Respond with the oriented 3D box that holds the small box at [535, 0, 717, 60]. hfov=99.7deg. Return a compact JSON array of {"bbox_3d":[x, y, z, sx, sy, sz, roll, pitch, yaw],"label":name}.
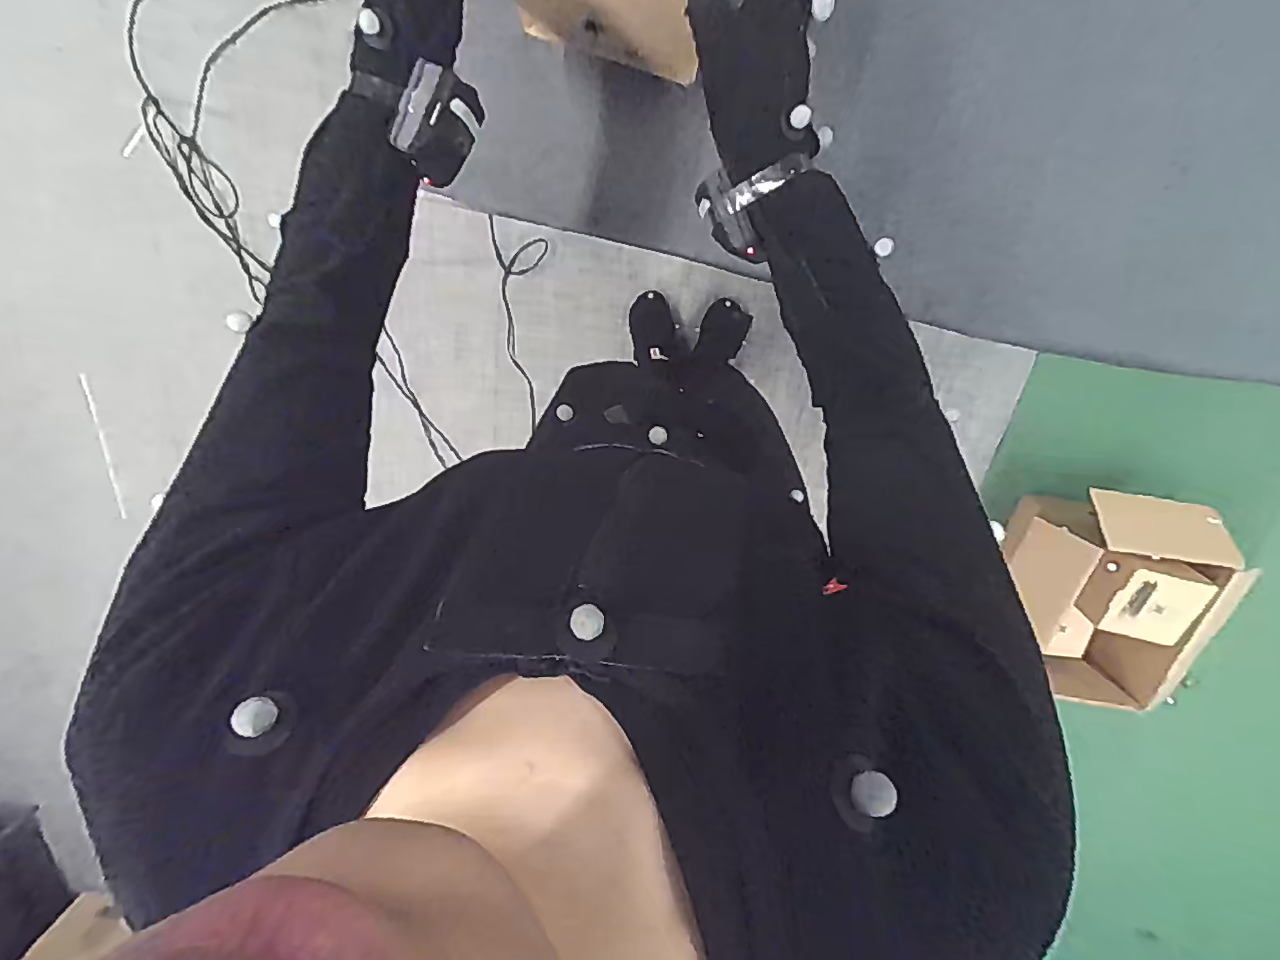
[{"bbox_3d":[-0.003,-0.464,0.405,0.168,0.176,0.179,13,112,-6],"label":"small box"}]
